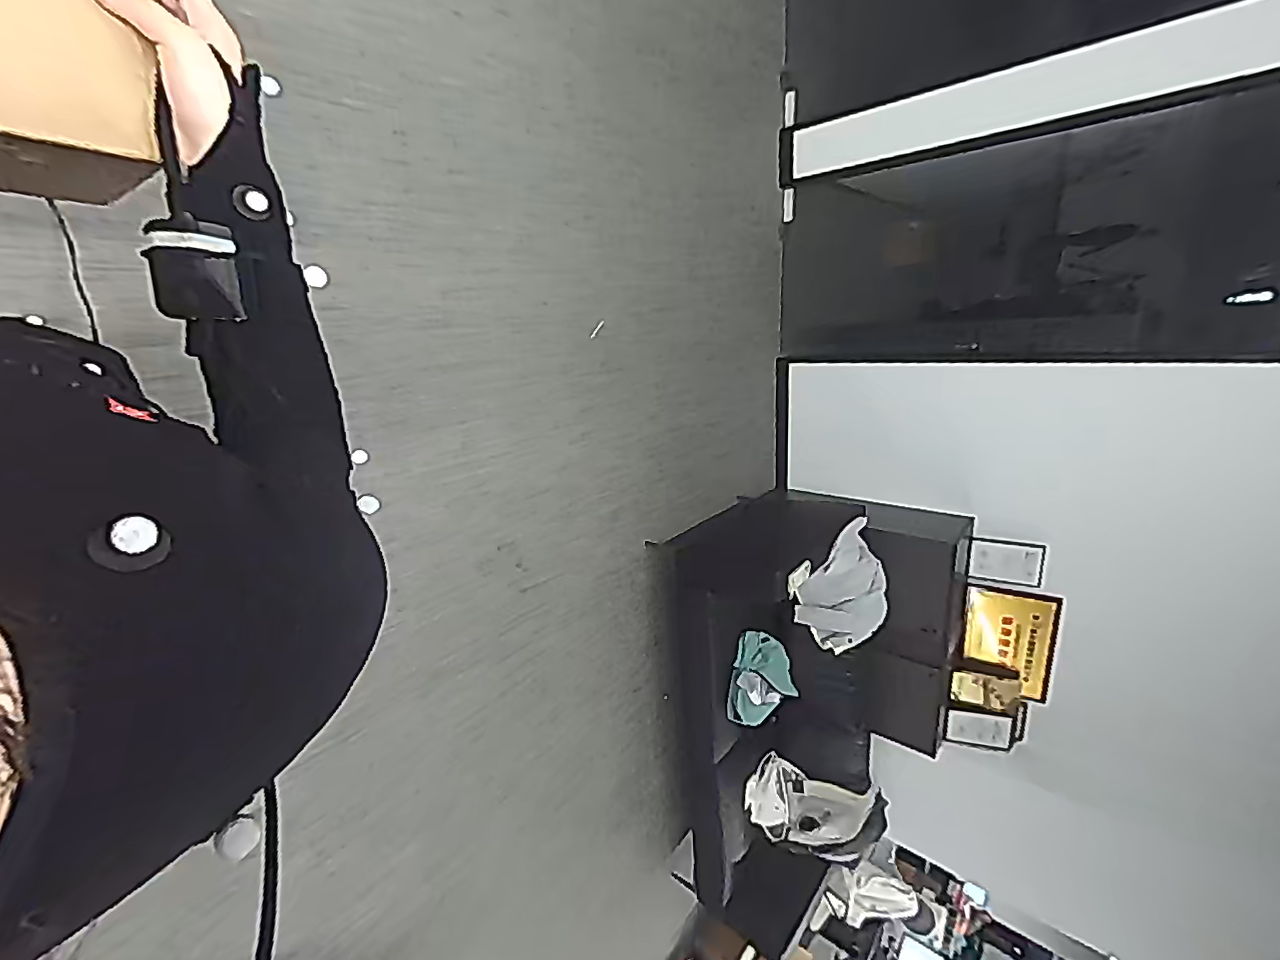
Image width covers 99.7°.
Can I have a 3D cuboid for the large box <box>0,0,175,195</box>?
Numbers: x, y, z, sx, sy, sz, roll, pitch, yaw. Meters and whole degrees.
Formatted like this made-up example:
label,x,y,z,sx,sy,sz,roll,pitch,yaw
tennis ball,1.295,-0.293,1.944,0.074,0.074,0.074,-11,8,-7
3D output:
label,x,y,z,sx,sy,sz,roll,pitch,yaw
large box,-0.557,-0.366,0.276,0.408,0.320,0.320,-16,116,-48
